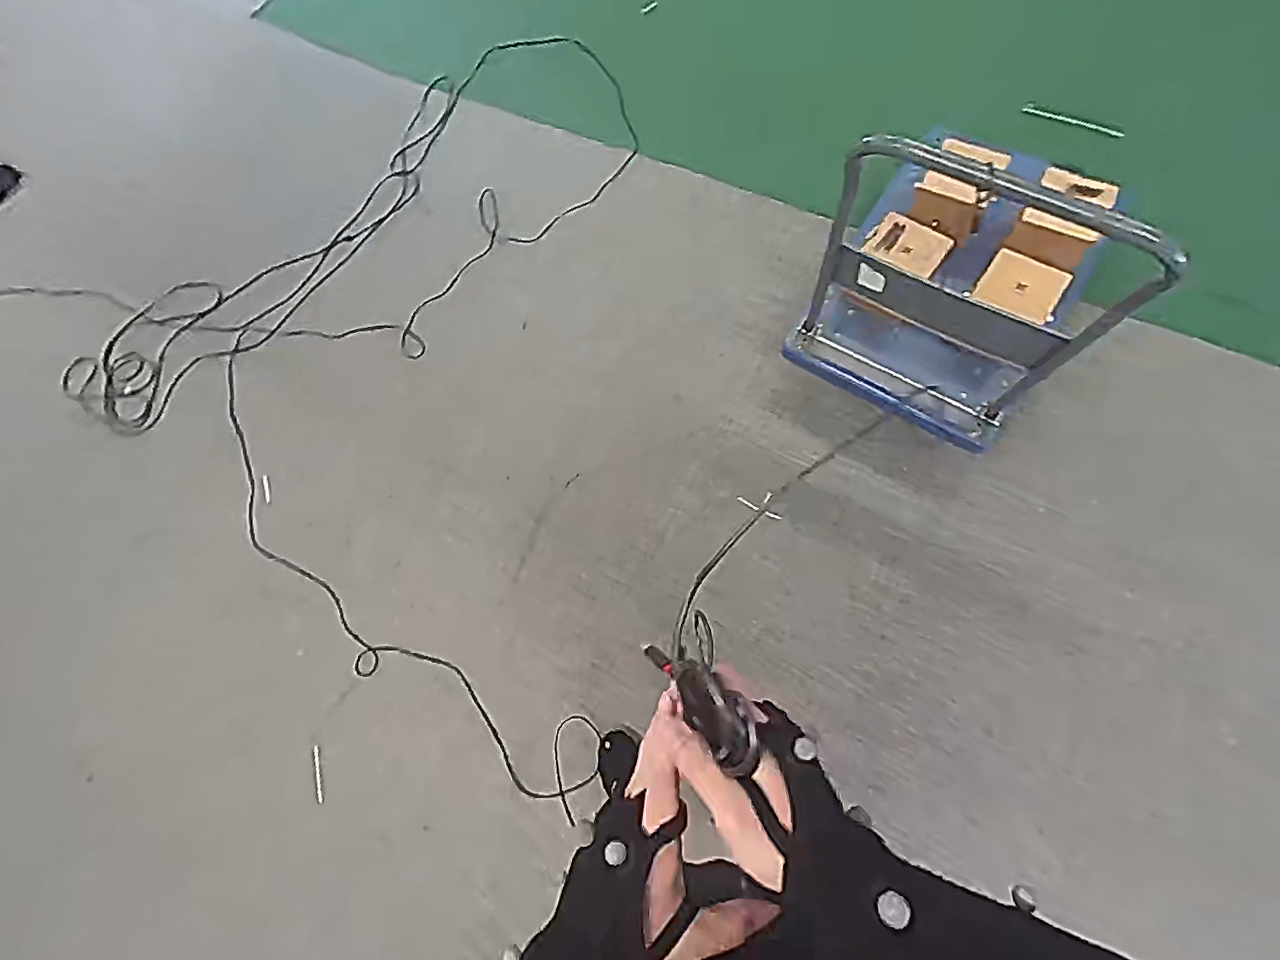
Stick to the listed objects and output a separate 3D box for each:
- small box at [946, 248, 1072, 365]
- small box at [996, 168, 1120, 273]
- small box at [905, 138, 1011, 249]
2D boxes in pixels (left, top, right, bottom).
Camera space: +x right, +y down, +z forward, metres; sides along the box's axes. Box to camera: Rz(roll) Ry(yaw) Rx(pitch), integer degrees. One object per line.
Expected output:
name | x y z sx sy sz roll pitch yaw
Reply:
small box | 0.894 -0.420 1.330 0.168 0.176 0.179 33 81 16
small box | 1.048 -0.639 1.373 0.168 0.176 0.179 29 80 16
small box | 0.834 -0.754 1.439 0.168 0.176 0.179 29 79 15
